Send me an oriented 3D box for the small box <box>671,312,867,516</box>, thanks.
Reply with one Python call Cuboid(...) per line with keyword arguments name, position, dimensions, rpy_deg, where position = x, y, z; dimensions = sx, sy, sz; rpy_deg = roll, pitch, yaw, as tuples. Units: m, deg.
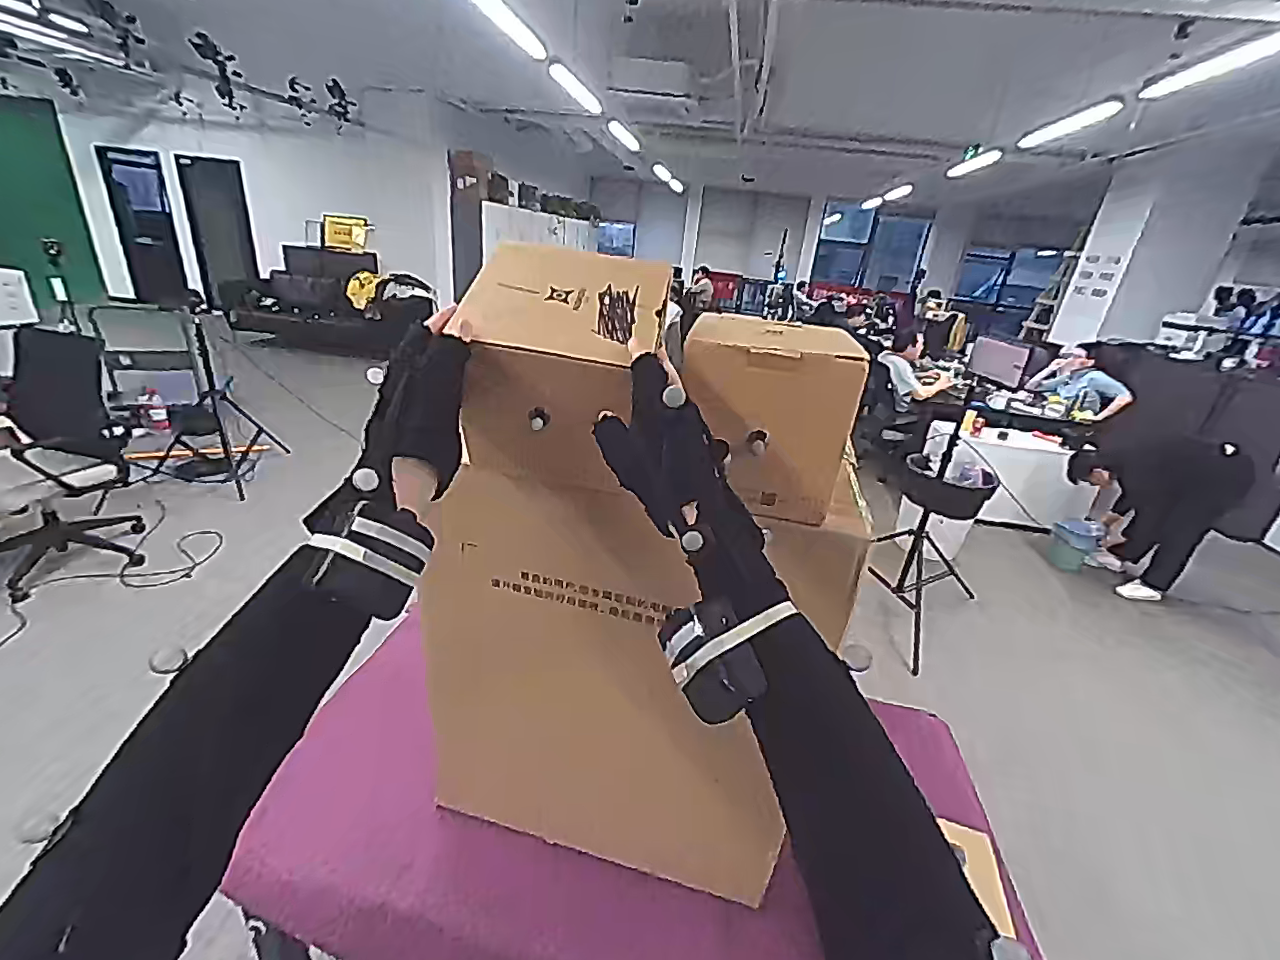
Cuboid(name="small box", position=(0.131, -0.078, 0.592), dimensions=(0.168, 0.176, 0.179), rpy_deg=(10, 26, 8))
